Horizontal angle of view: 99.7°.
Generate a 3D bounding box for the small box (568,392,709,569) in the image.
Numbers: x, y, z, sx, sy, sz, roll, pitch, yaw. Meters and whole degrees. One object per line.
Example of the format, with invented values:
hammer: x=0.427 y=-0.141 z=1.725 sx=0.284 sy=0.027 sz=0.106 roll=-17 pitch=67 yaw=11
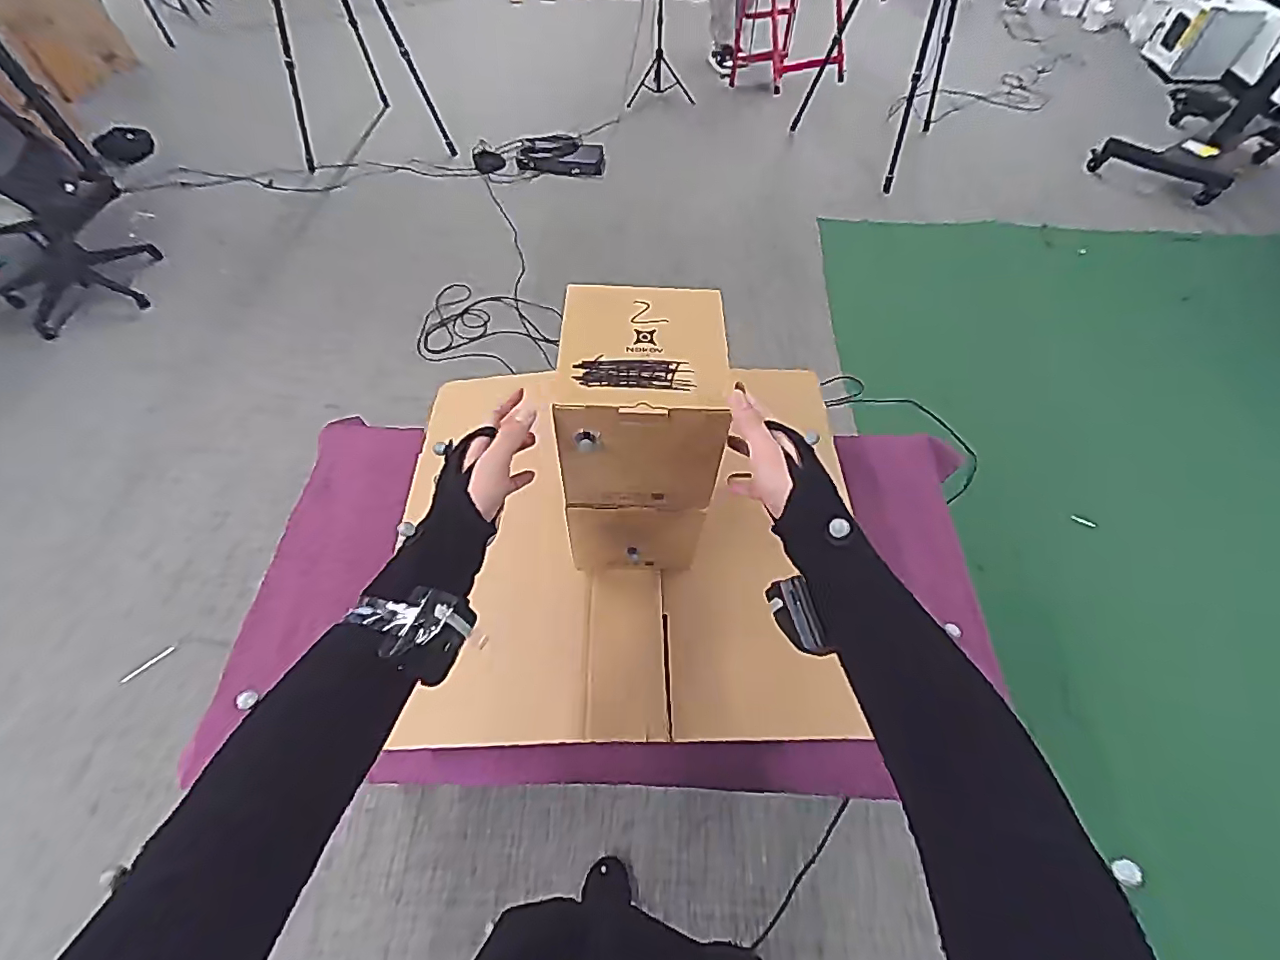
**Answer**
small box: x=-0.003 y=0.004 z=0.728 sx=0.168 sy=0.176 sz=0.179 roll=2 pitch=57 yaw=-1
